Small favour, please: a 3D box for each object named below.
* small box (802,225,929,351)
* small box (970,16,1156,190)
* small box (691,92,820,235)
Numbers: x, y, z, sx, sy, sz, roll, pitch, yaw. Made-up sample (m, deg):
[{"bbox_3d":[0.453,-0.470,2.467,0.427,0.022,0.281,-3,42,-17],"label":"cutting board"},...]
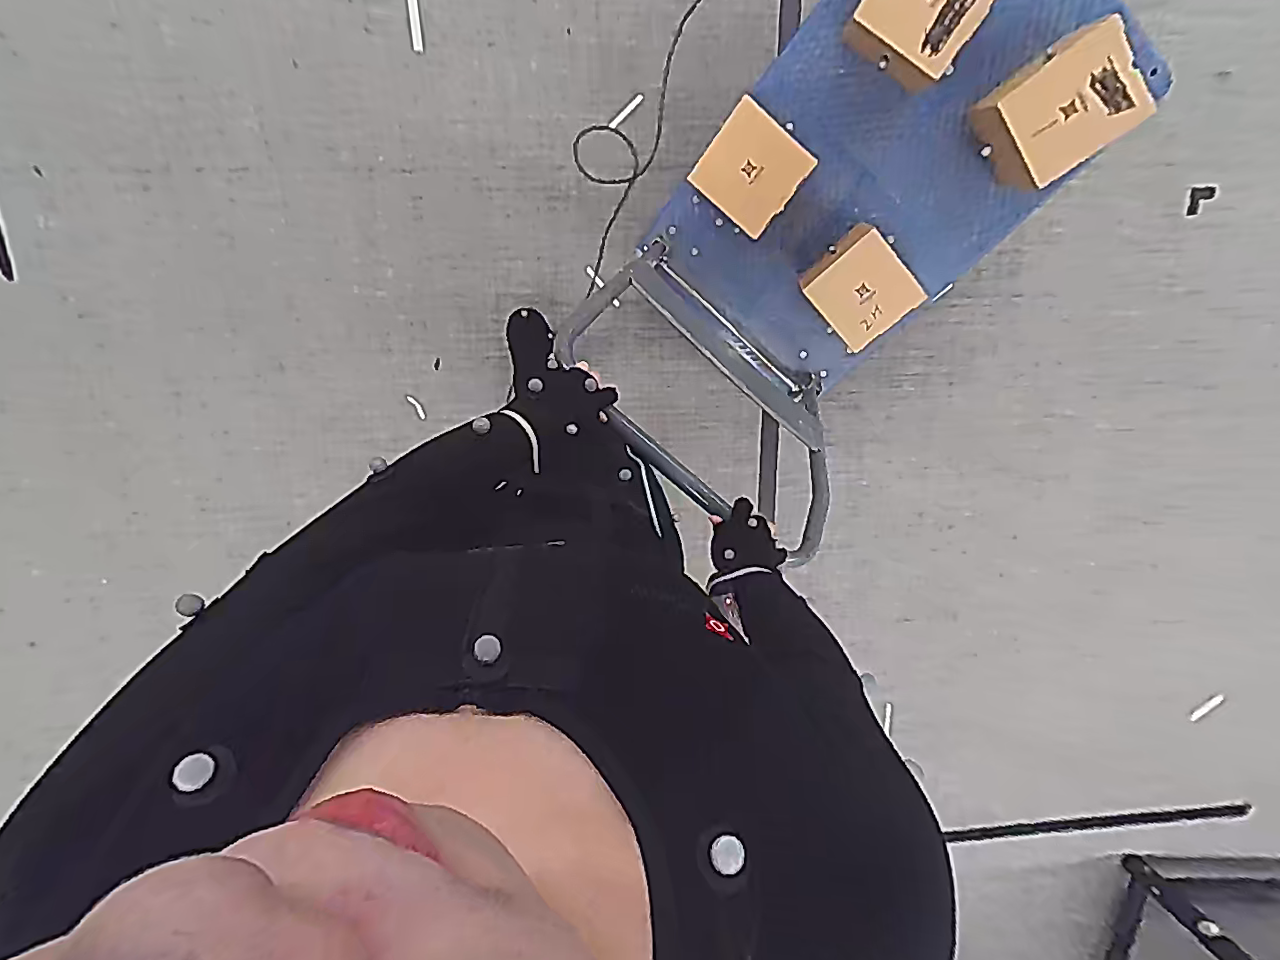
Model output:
[{"bbox_3d":[0.455,-0.402,1.121,0.179,0.176,0.168,45,119,-12],"label":"small box"},{"bbox_3d":[0.716,-0.635,0.935,0.179,0.176,0.168,-32,108,27],"label":"small box"},{"bbox_3d":[0.221,-0.609,1.058,0.179,0.176,0.168,37,119,-10],"label":"small box"}]
